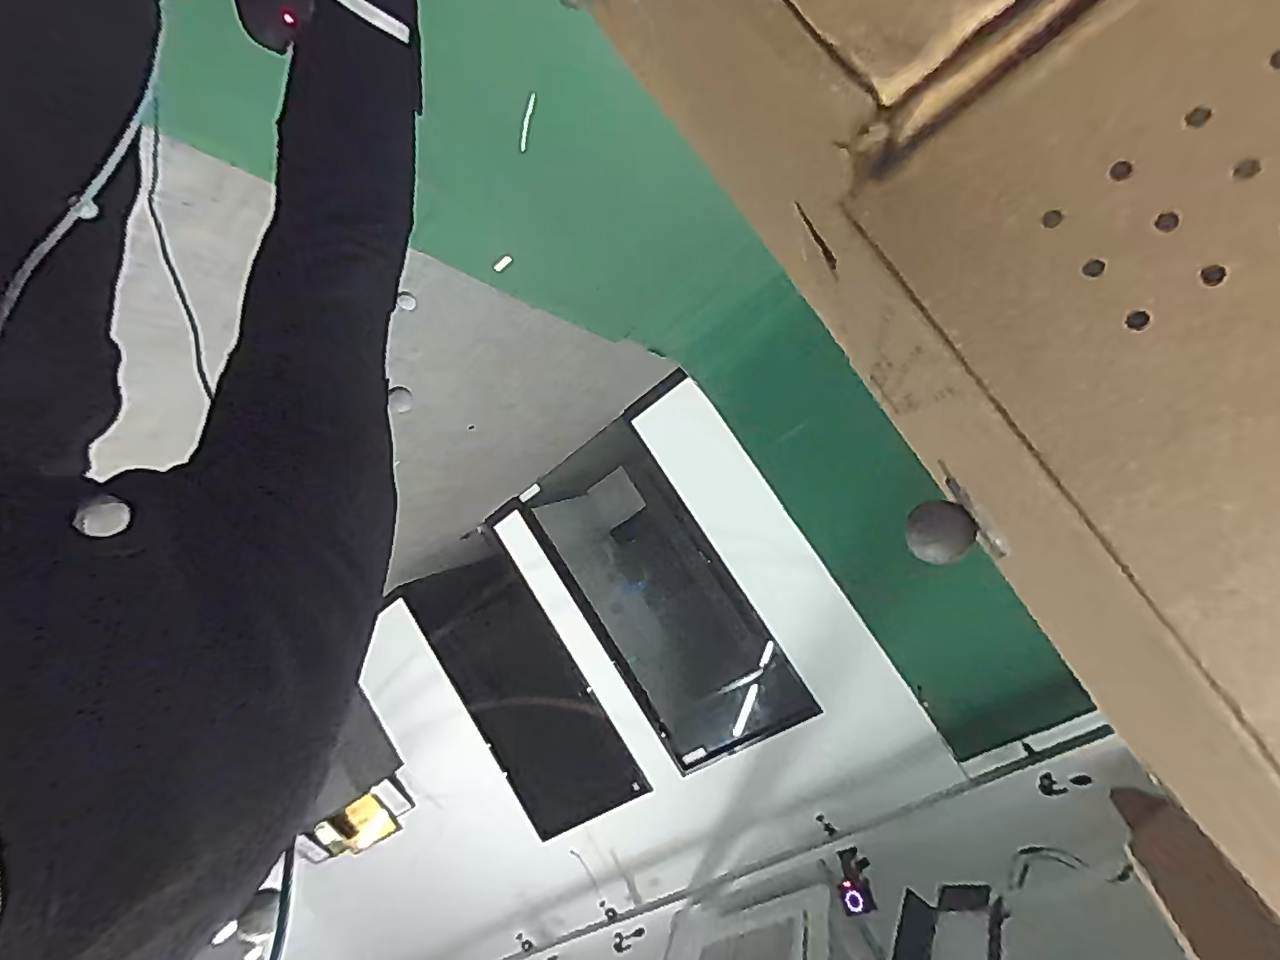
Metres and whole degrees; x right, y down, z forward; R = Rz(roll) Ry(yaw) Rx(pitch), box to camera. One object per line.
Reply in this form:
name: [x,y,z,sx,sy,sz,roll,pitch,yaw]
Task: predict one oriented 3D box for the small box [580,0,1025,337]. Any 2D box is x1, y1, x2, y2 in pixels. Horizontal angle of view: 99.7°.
small box: [0.070,-0.162,0.121,0.179,0.176,0.168,-35,172,20]
